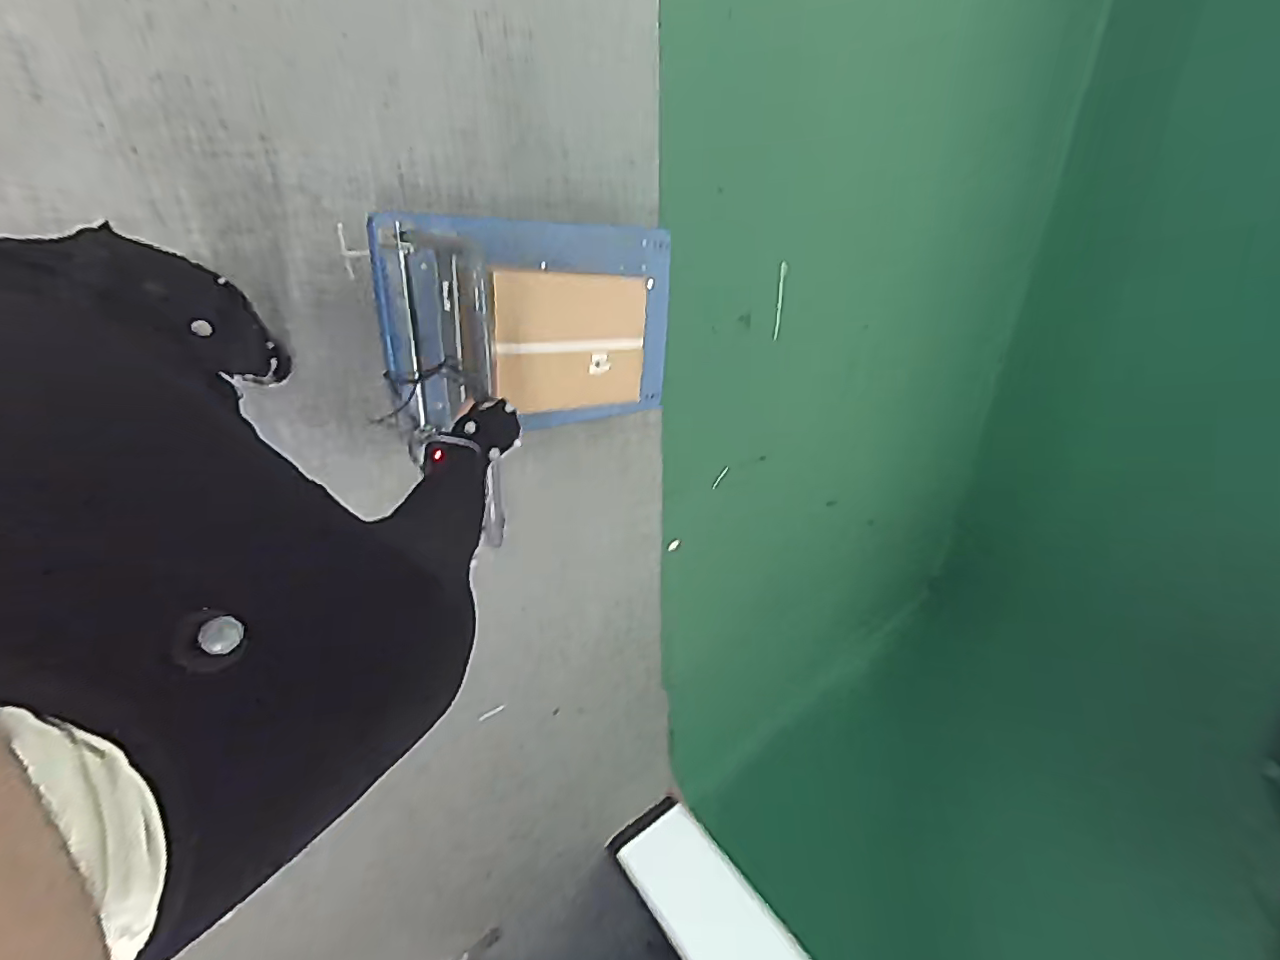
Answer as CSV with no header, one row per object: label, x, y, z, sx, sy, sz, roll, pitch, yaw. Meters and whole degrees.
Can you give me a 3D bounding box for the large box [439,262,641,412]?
large box,-0.255,-0.382,1.383,0.408,0.320,0.320,-13,119,-35
